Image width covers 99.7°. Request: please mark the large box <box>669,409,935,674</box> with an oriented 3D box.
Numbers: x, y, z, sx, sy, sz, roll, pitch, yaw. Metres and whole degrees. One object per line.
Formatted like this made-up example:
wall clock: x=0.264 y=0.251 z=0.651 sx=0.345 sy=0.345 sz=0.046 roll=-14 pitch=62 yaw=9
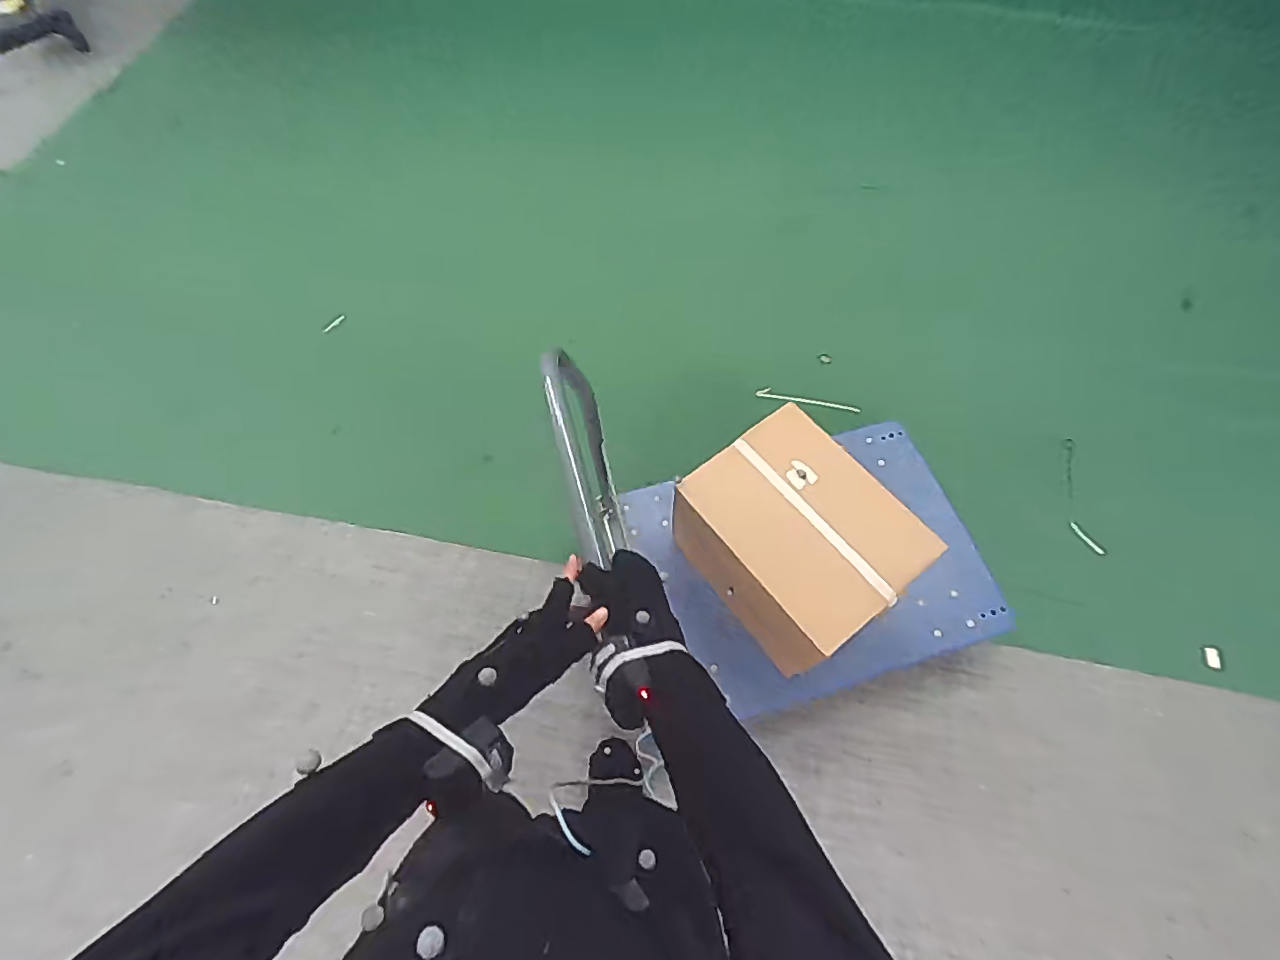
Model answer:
large box: x=0.305 y=0.138 z=1.148 sx=0.320 sy=0.320 sz=0.408 roll=-35 pitch=67 yaw=-14
